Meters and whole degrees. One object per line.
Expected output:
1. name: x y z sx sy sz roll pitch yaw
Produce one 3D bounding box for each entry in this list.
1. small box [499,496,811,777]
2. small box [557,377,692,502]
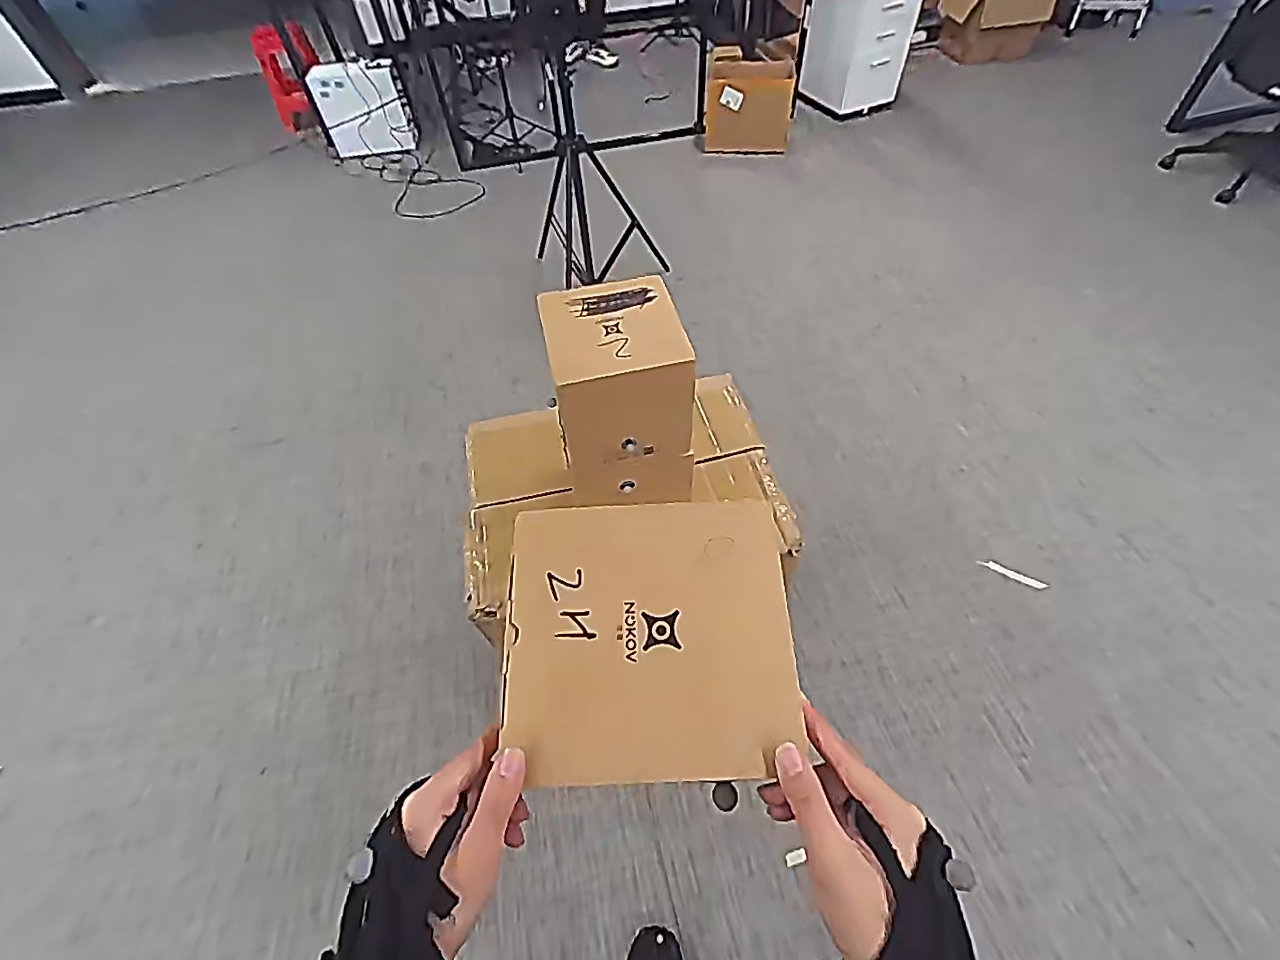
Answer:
1. small box: 0.009 0.121 0.403 0.179 0.176 0.168 -3 64 2
2. small box: -0.023 -0.033 0.848 0.179 0.176 0.168 -11 54 -6
